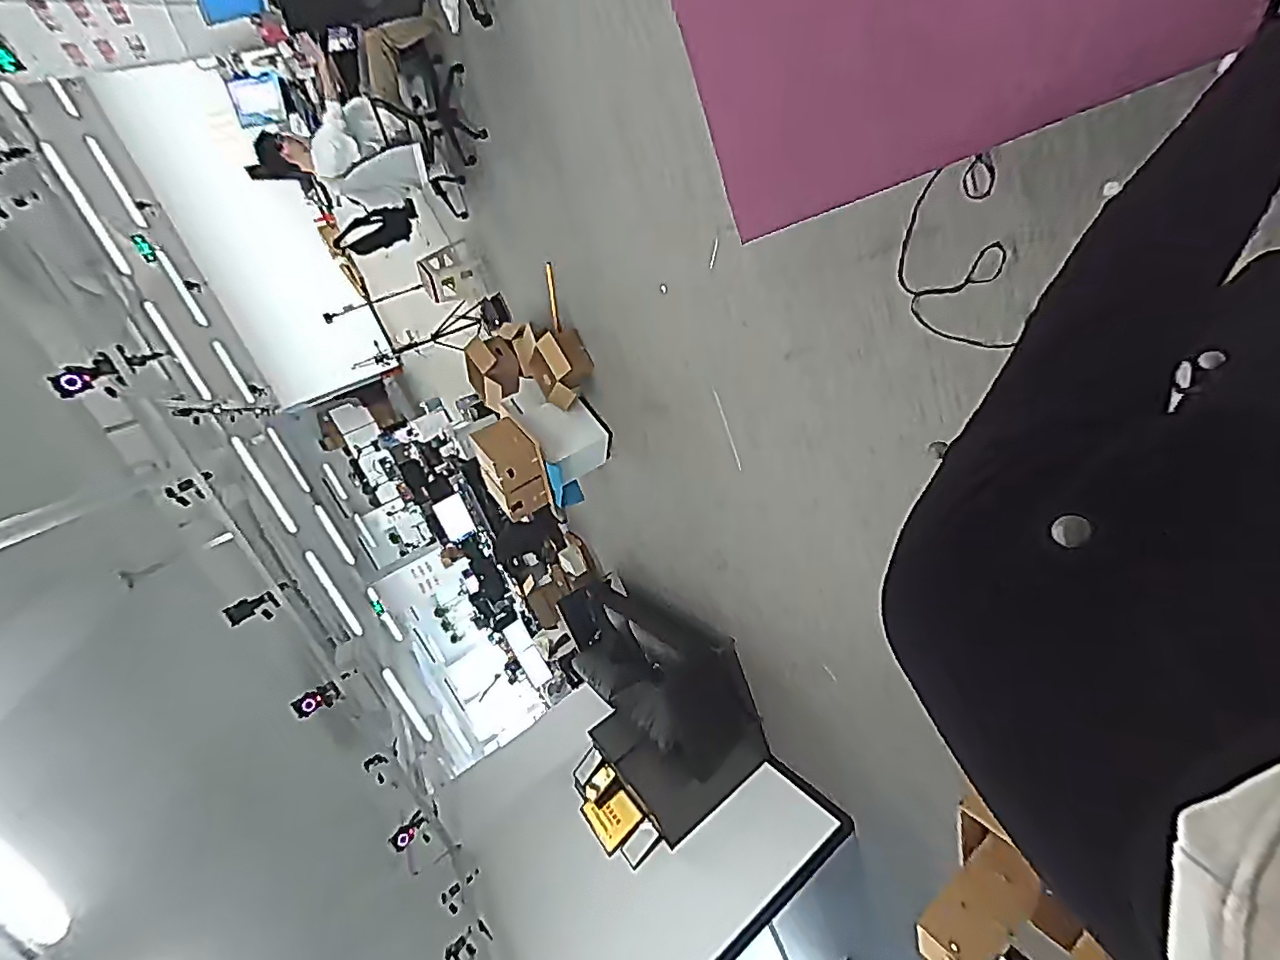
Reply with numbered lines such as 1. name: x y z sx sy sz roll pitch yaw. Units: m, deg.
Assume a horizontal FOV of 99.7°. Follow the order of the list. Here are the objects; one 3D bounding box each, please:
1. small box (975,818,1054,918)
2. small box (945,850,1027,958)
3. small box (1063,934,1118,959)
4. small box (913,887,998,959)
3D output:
1. small box: 1.226 1.264 1.775 0.168 0.176 0.179 26 139 54
2. small box: 1.093 1.333 1.709 0.168 0.176 0.179 24 137 53
3. small box: 1.253 1.408 1.474 0.168 0.176 0.179 26 138 54
4. small box: 0.962 1.406 1.646 0.168 0.176 0.179 23 137 53
